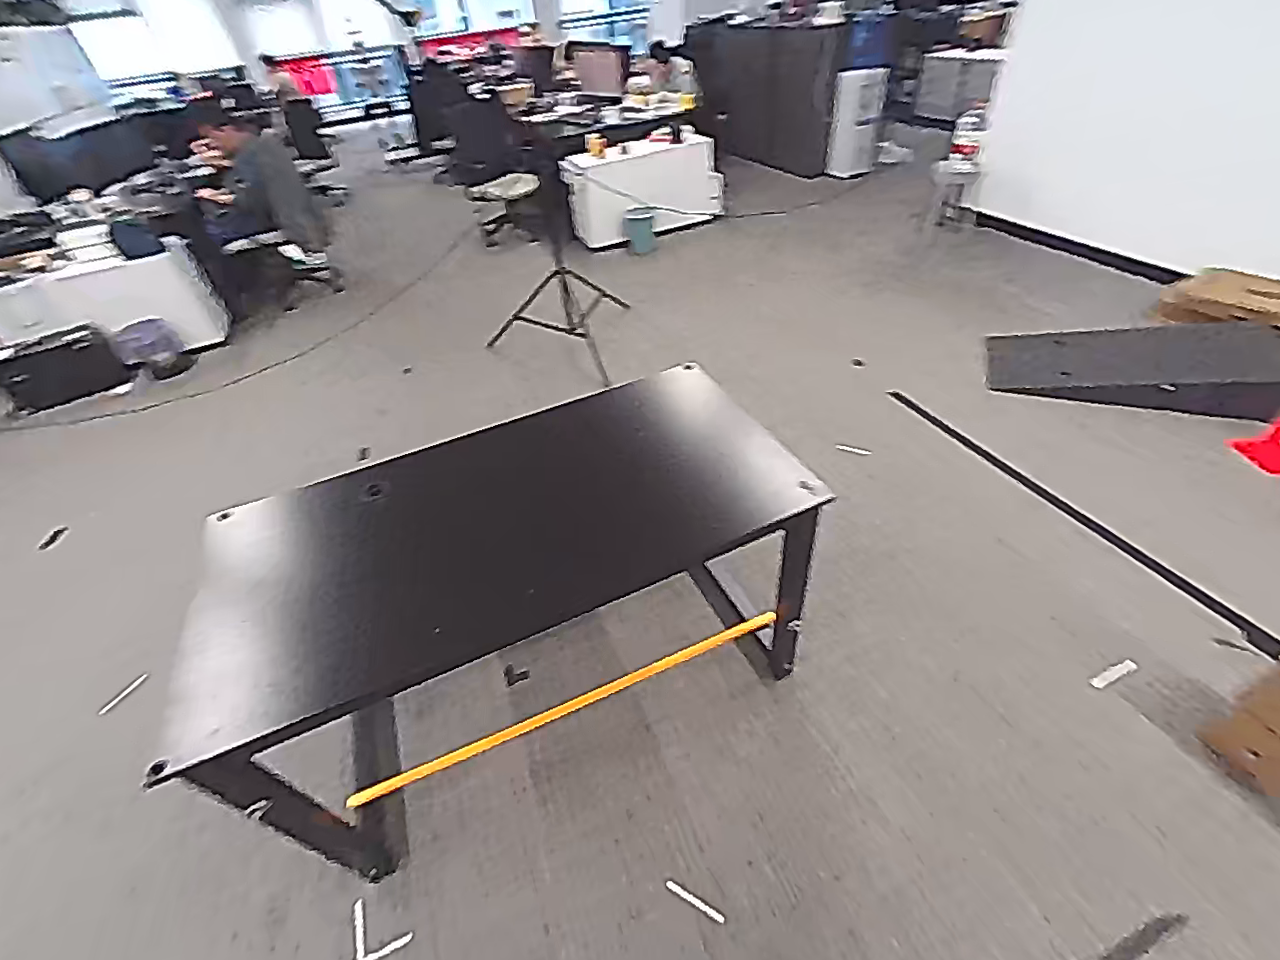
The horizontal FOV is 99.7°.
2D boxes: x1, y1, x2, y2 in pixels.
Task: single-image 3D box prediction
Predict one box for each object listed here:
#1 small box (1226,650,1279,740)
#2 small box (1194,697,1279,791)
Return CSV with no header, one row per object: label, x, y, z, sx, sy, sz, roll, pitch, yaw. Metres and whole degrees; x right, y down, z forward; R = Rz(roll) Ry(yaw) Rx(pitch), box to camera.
small box,1.450,0.466,1.160,0.168,0.176,0.179,-18,44,-11
small box,1.472,0.593,1.267,0.179,0.176,0.168,-19,44,-11
